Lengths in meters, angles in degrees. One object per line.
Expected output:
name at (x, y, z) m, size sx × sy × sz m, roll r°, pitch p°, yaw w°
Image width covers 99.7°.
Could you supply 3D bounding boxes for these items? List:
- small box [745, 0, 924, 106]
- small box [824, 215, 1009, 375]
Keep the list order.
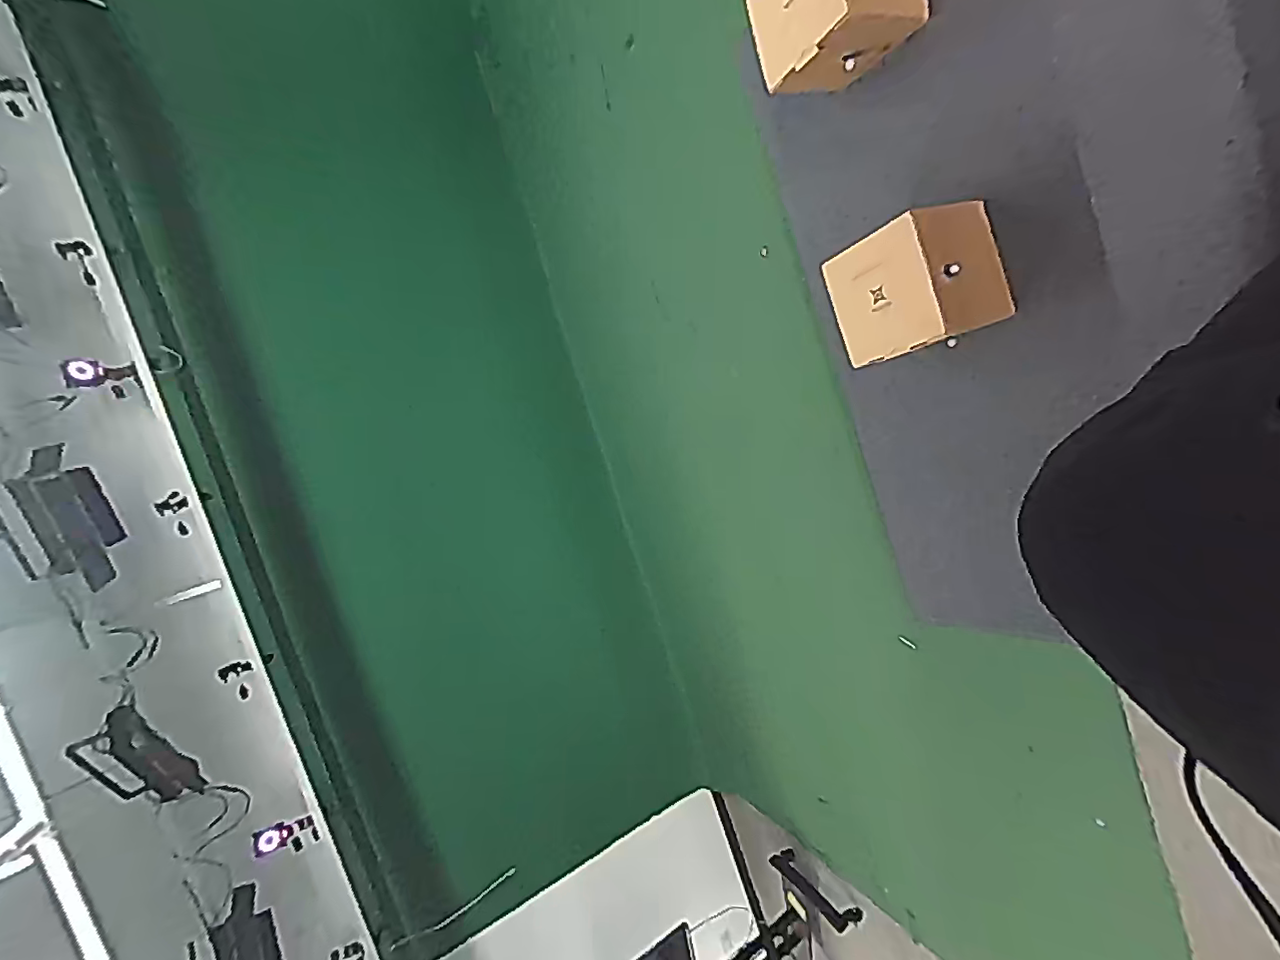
small box at (0.286, -0.694, 0.798) m, size 0.168 × 0.176 × 0.179 m, roll 1°, pitch 109°, yaw 64°
small box at (0.423, -0.280, 0.830) m, size 0.168 × 0.176 × 0.179 m, roll -14°, pitch 94°, yaw 64°
